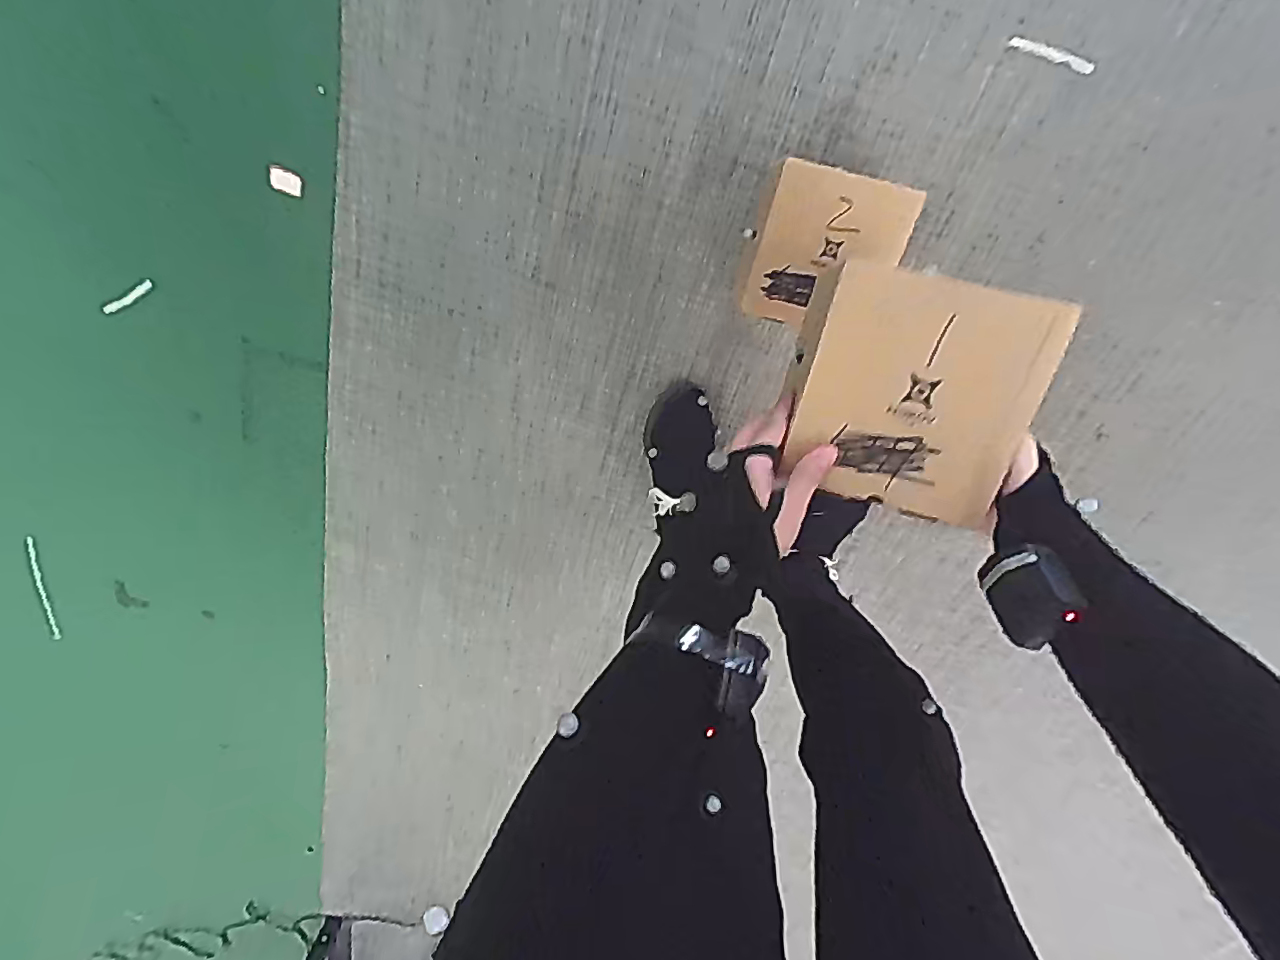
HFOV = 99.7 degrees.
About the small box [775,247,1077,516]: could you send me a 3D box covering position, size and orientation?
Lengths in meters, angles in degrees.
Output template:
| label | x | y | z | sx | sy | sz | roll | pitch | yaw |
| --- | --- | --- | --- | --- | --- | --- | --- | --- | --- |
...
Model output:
| label | x | y | z | sx | sy | sz | roll | pitch | yaw |
| --- | --- | --- | --- | --- | --- | --- | --- | --- | --- |
| small box | 0.226 | -0.094 | 0.489 | 0.168 | 0.176 | 0.179 | 15 | 110 | 6 |
